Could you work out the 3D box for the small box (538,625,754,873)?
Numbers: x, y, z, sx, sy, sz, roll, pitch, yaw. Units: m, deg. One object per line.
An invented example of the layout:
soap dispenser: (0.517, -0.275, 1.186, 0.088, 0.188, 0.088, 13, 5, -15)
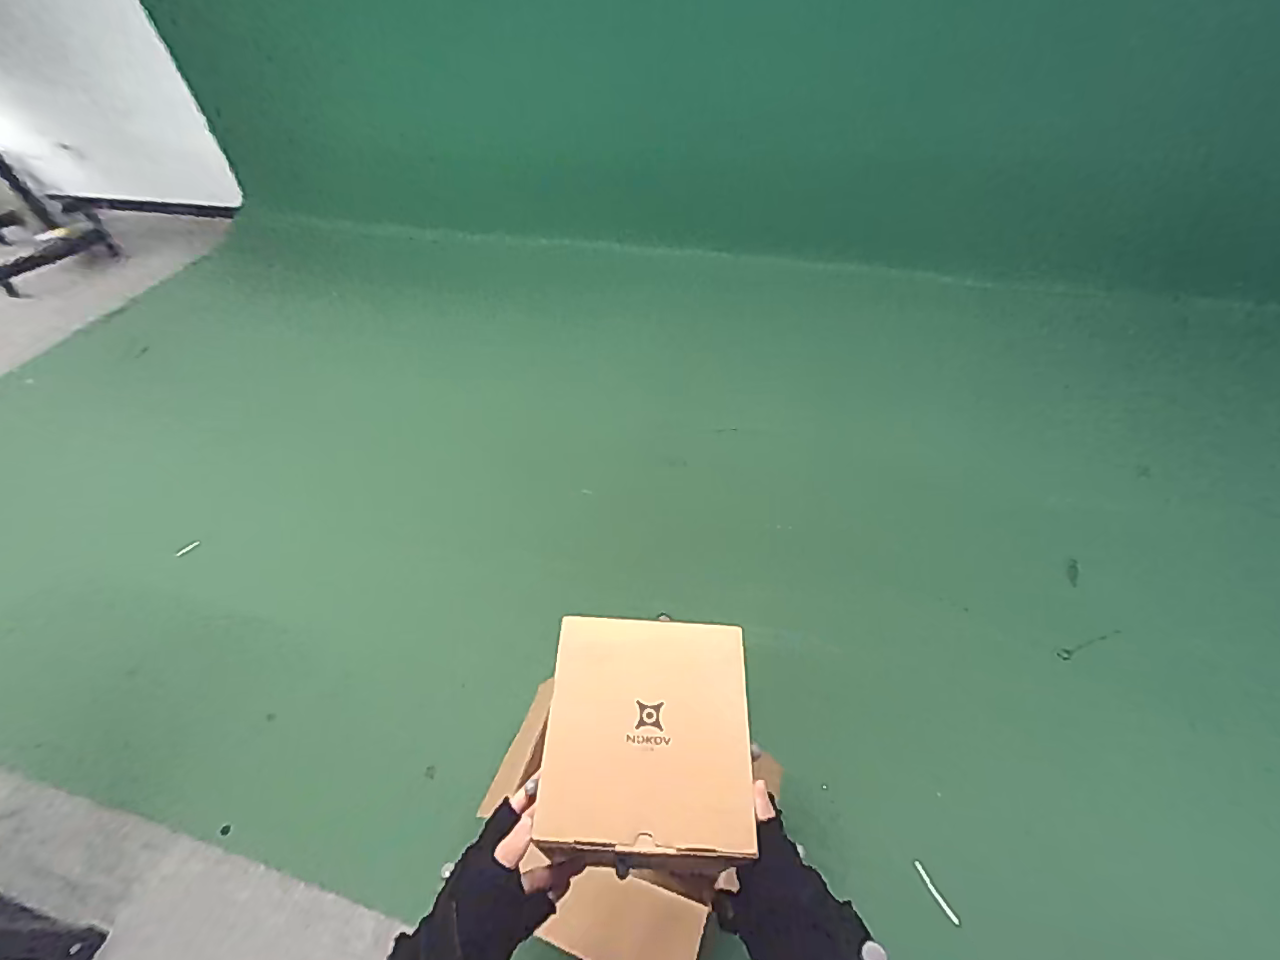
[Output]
small box: (0.003, 0.258, 0.513, 0.168, 0.176, 0.179, 4, 52, -1)
